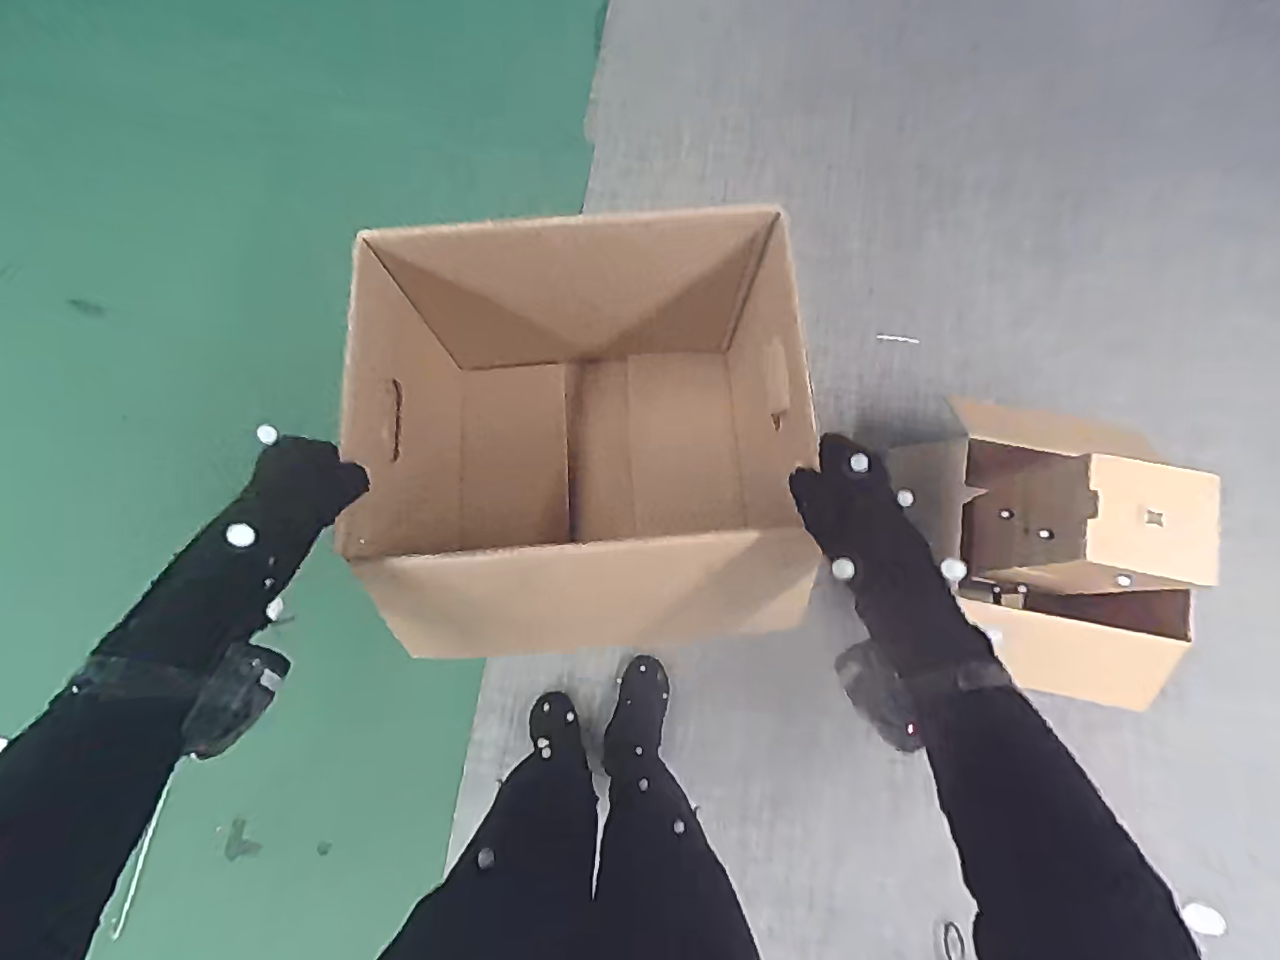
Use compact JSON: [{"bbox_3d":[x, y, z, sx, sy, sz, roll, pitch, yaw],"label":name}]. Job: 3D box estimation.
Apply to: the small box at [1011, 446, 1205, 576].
[{"bbox_3d":[0.733,0.058,0.864,0.179,0.176,0.168,10,80,5],"label":"small box"}]
